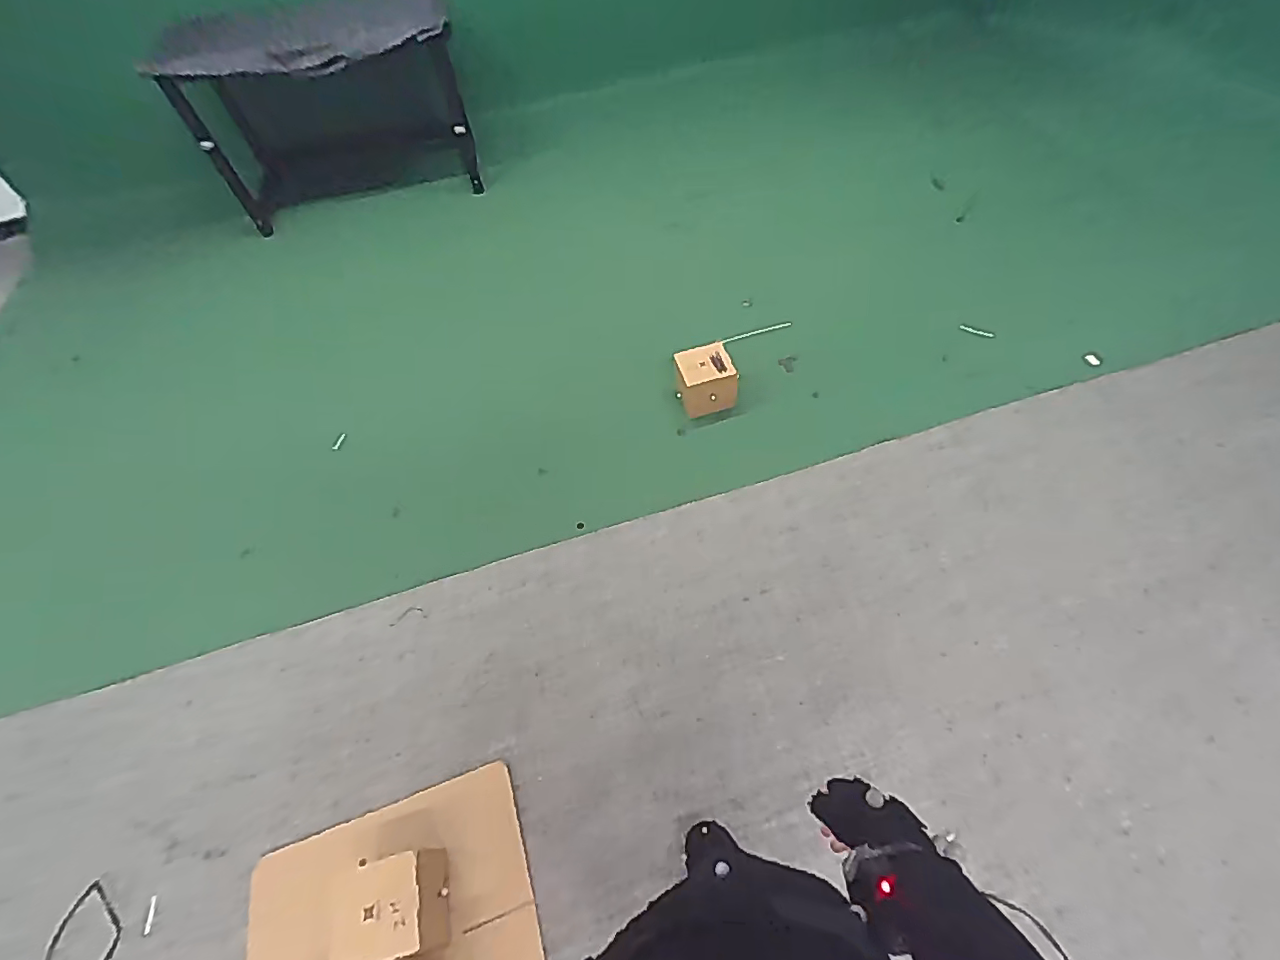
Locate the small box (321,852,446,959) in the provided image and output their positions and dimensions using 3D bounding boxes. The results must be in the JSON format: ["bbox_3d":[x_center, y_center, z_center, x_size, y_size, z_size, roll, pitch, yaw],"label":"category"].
[{"bbox_3d":[-0.514,0.881,1.101,0.179,0.176,0.168,-15,56,-5],"label":"small box"}]
